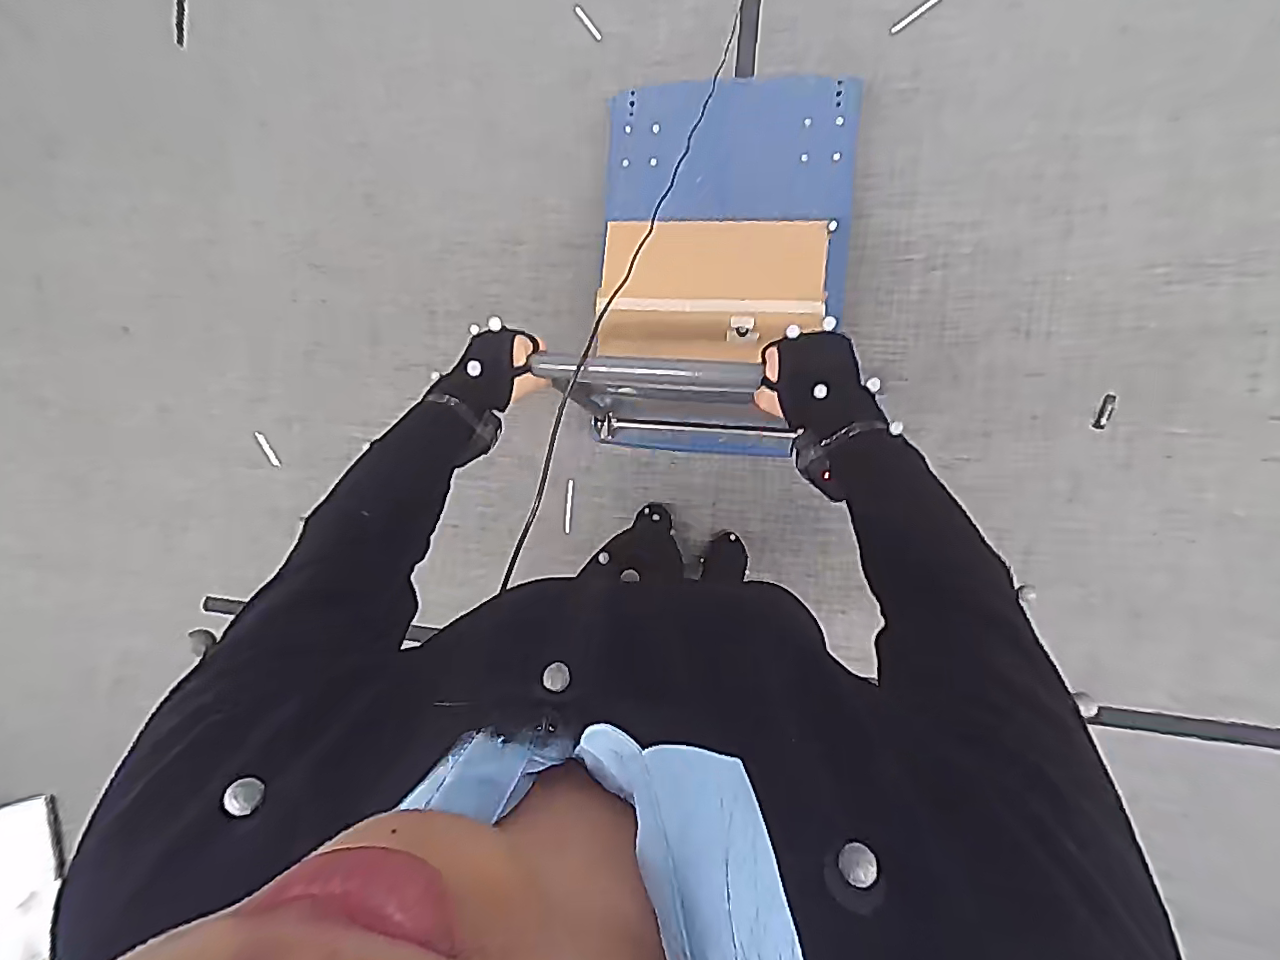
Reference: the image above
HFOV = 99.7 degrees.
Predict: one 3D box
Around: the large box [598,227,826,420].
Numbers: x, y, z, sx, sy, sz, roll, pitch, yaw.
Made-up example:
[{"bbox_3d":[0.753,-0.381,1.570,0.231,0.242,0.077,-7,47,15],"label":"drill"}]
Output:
[{"bbox_3d":[0.146,-0.305,1.133,0.408,0.320,0.320,5,90,9],"label":"large box"}]
